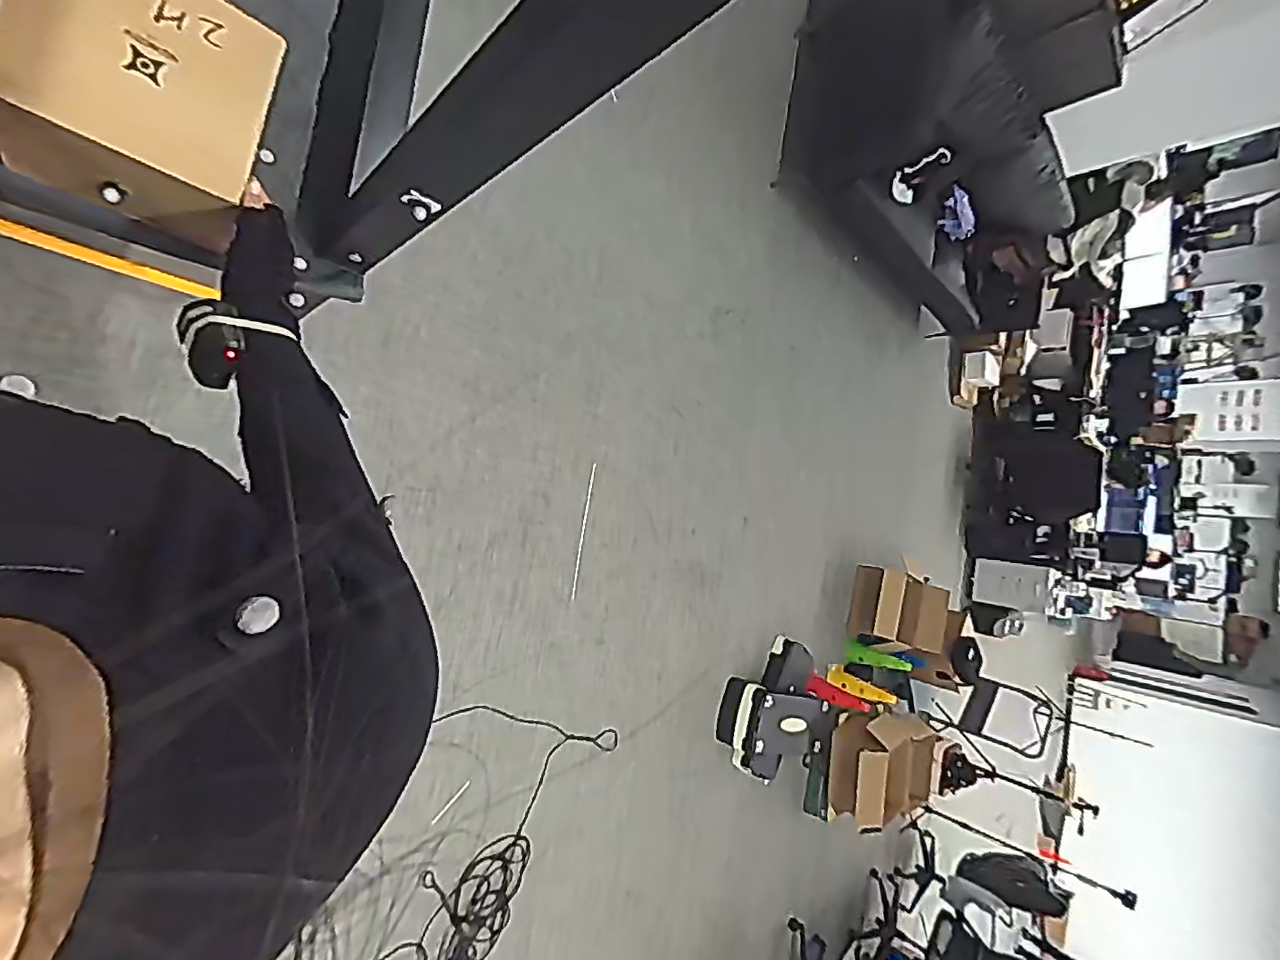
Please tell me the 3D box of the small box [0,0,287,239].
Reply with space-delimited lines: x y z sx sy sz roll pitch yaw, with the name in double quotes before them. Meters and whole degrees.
"small box" -0.464 -0.361 0.512 0.168 0.176 0.179 16 81 -43
